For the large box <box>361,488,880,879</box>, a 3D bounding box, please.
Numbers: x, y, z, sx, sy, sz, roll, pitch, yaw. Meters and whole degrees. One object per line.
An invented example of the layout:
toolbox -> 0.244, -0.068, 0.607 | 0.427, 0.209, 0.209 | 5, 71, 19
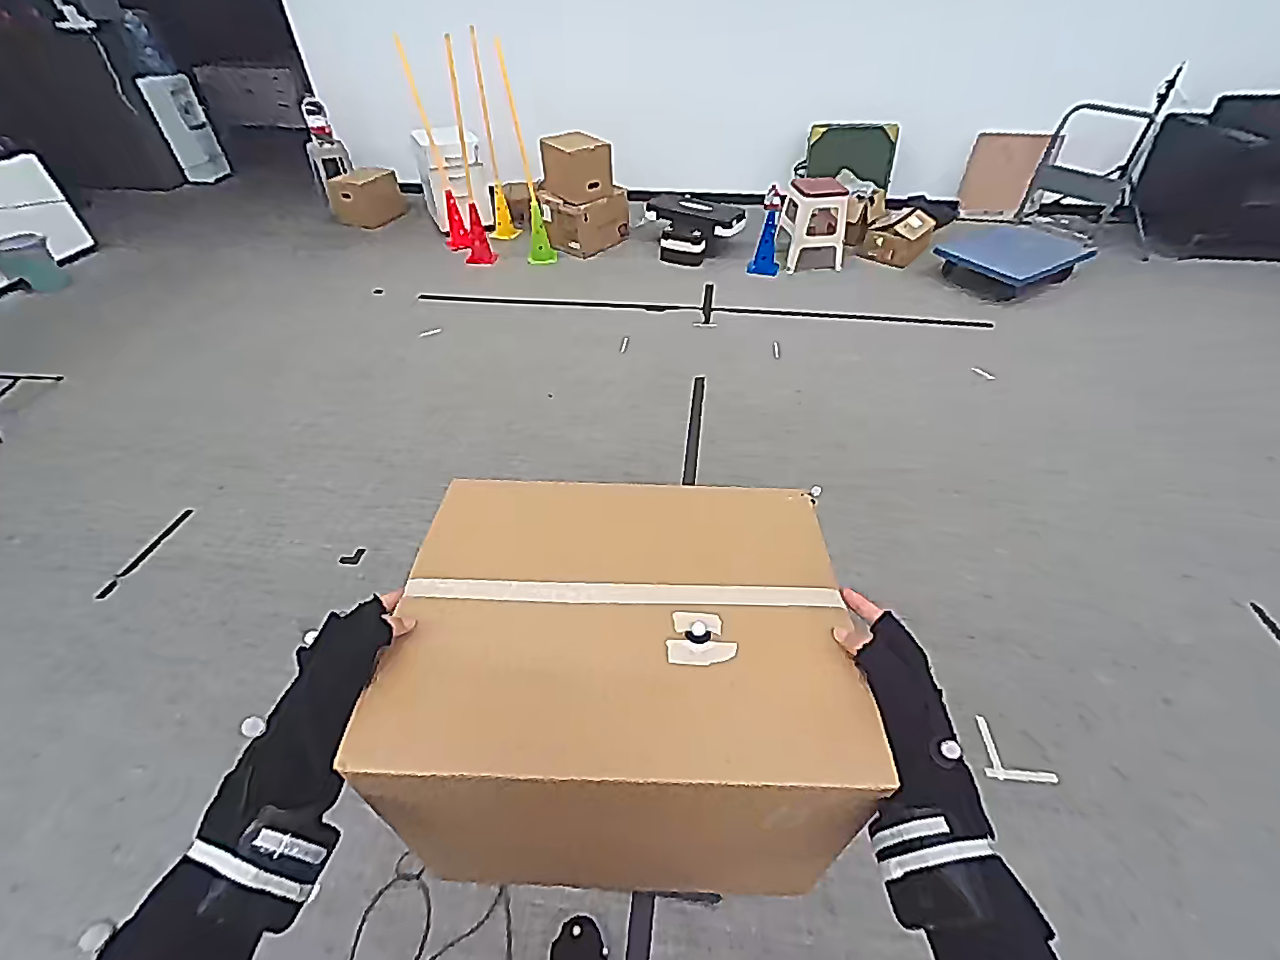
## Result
large box -> -0.017, 0.227, 0.615 | 0.408, 0.320, 0.320 | 2, 42, 0
